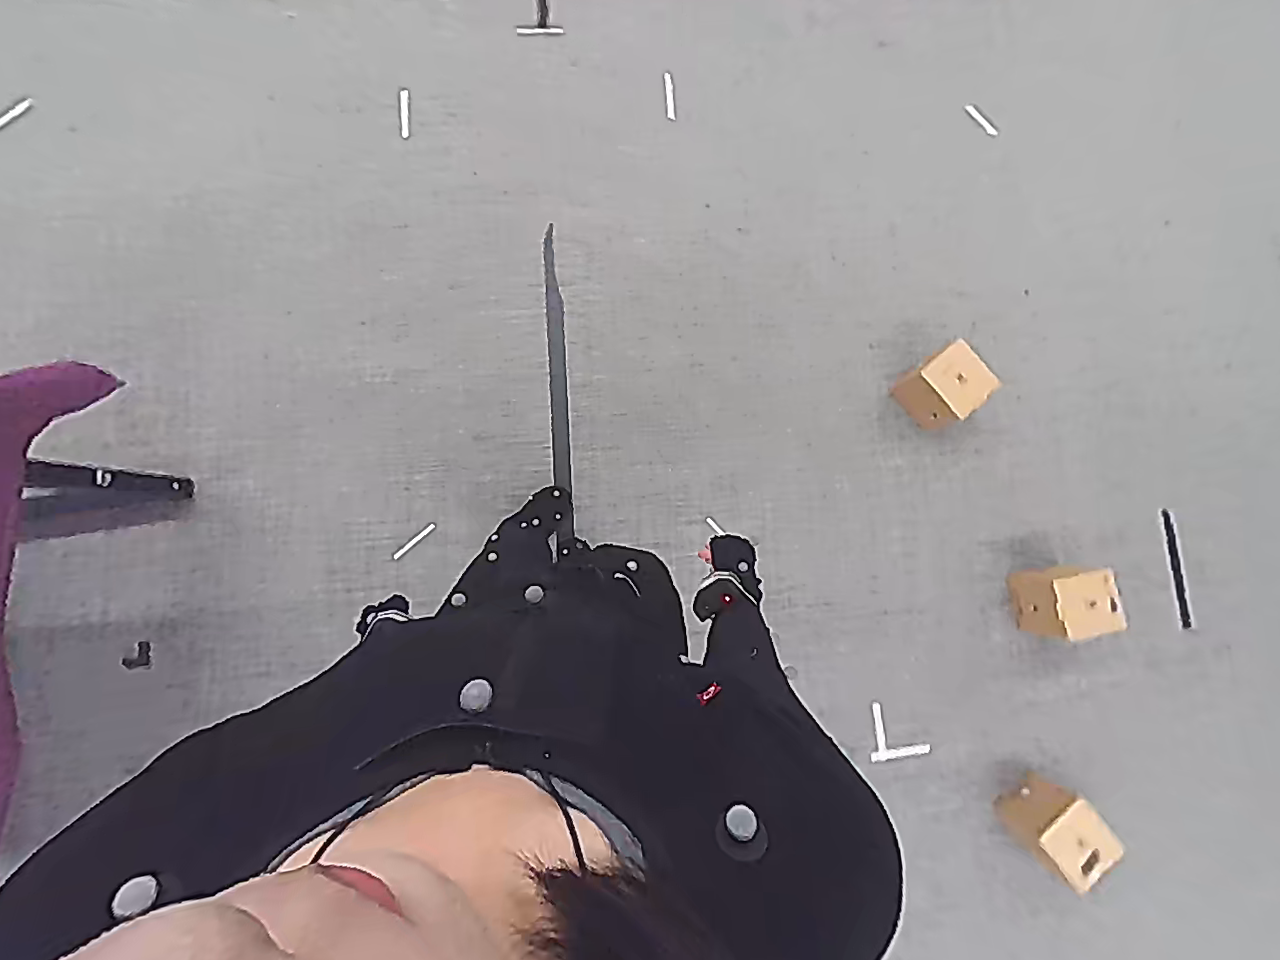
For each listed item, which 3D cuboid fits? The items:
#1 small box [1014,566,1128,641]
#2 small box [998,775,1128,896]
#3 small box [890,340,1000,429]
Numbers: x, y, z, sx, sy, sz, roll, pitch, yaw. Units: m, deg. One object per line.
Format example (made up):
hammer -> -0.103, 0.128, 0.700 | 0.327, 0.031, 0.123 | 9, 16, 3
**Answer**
small box -> 1.192, 0.340, 1.514 | 0.179, 0.176, 0.168 | -11, 85, -4
small box -> 1.121, 0.938, 1.446 | 0.168, 0.176, 0.179 | -38, 86, -7
small box -> 0.871, -0.265, 1.558 | 0.168, 0.176, 0.179 | -41, 87, -8
